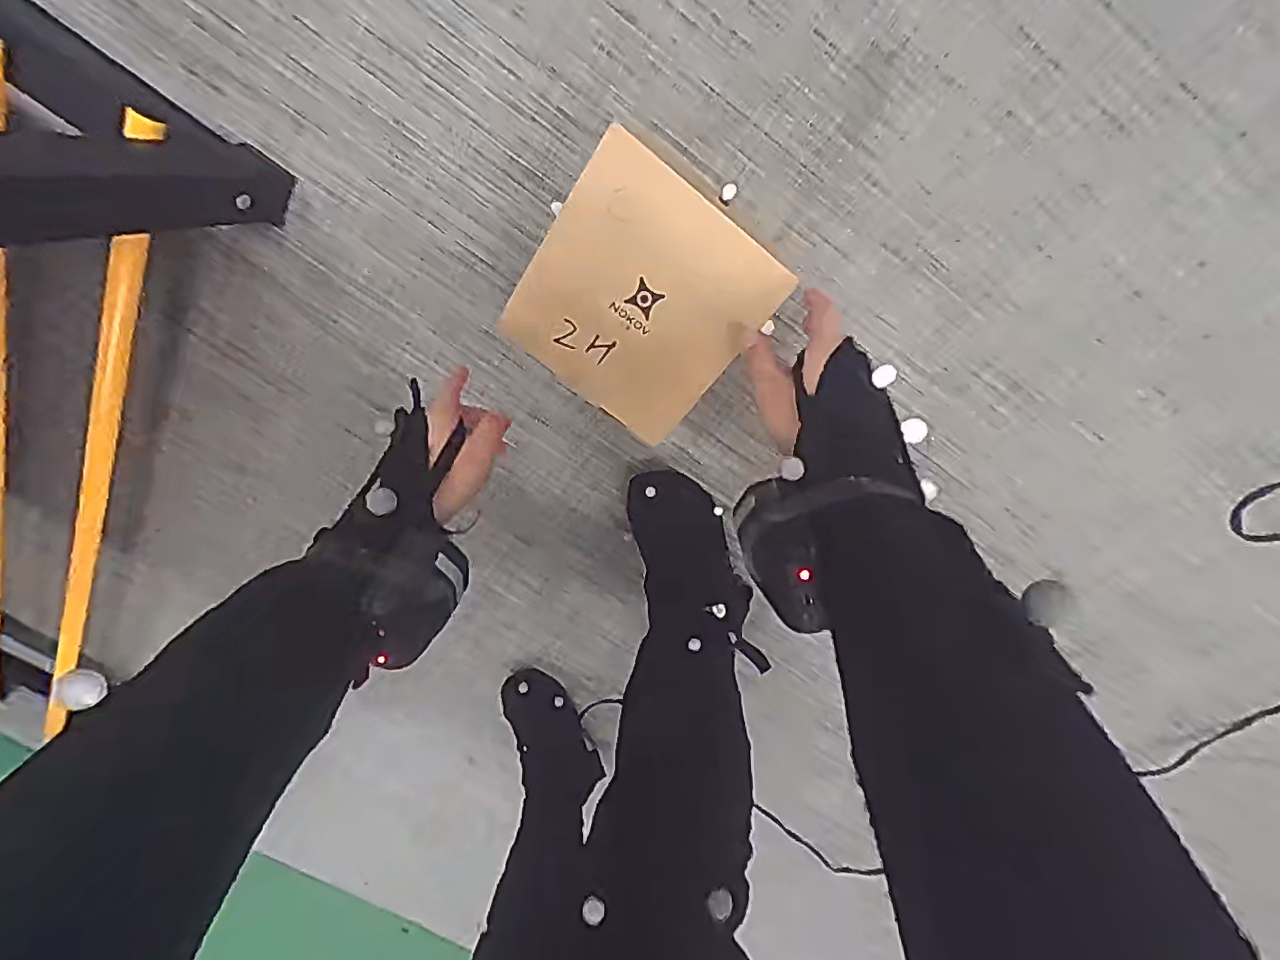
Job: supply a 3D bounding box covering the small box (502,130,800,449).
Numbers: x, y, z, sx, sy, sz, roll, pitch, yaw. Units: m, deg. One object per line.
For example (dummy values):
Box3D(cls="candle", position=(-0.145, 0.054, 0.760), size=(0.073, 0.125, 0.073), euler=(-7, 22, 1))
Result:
Box3D(cls="small box", position=(0.012, -0.167, 0.479), size=(0.168, 0.176, 0.179), euler=(36, 118, -10))
